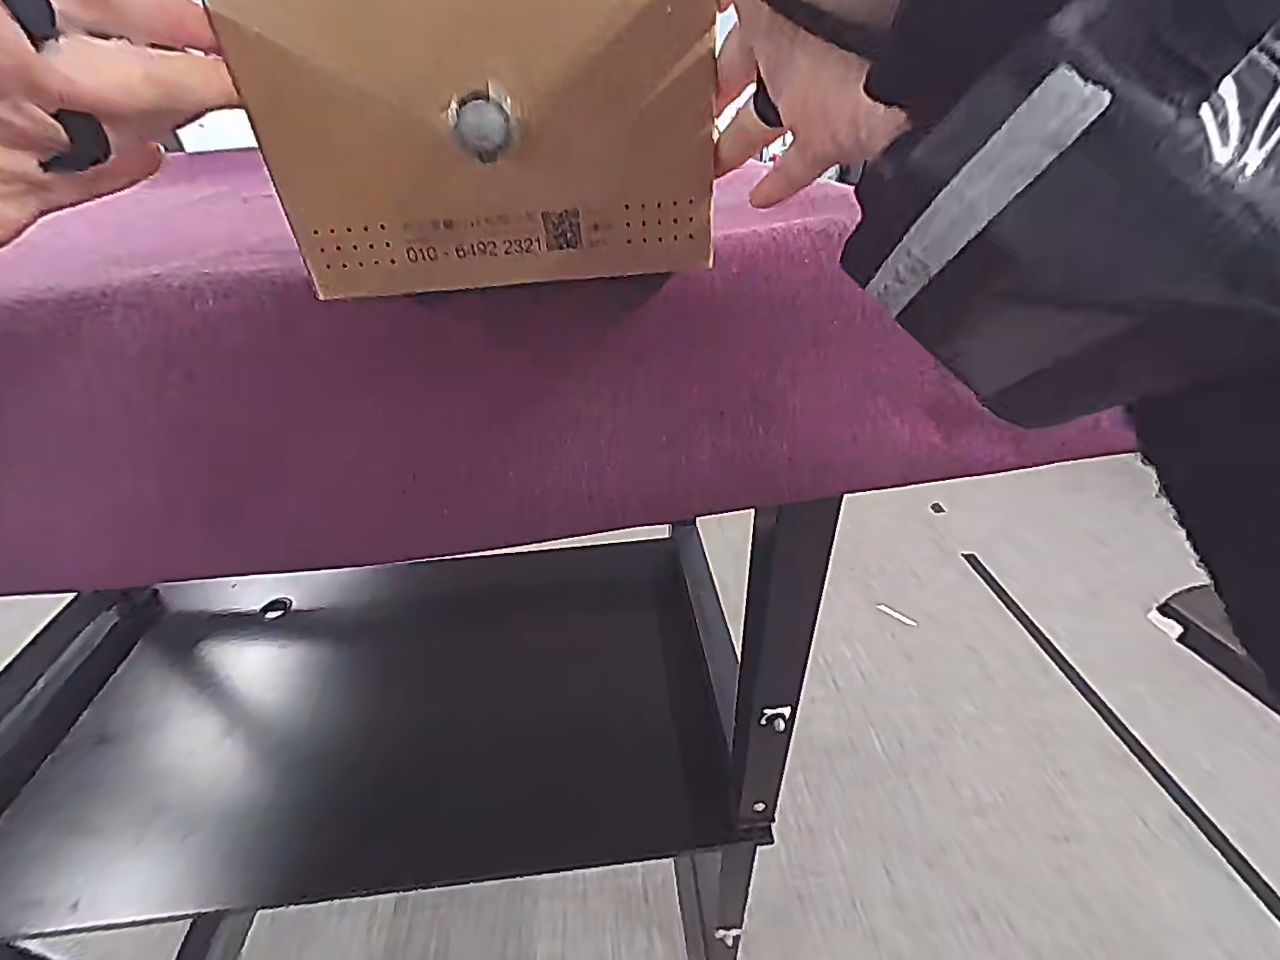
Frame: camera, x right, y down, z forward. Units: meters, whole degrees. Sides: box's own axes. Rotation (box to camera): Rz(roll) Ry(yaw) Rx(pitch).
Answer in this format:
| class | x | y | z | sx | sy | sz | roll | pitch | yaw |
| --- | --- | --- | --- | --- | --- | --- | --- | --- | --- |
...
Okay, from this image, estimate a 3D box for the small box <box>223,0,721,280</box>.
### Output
| class | x | y | z | sx | sy | sz | roll | pitch | yaw |
| --- | --- | --- | --- | --- | --- | --- | --- | --- | --- |
| small box | -0.061 | -0.196 | 0.239 | 0.168 | 0.176 | 0.179 | -5 | 35 | -2 |
